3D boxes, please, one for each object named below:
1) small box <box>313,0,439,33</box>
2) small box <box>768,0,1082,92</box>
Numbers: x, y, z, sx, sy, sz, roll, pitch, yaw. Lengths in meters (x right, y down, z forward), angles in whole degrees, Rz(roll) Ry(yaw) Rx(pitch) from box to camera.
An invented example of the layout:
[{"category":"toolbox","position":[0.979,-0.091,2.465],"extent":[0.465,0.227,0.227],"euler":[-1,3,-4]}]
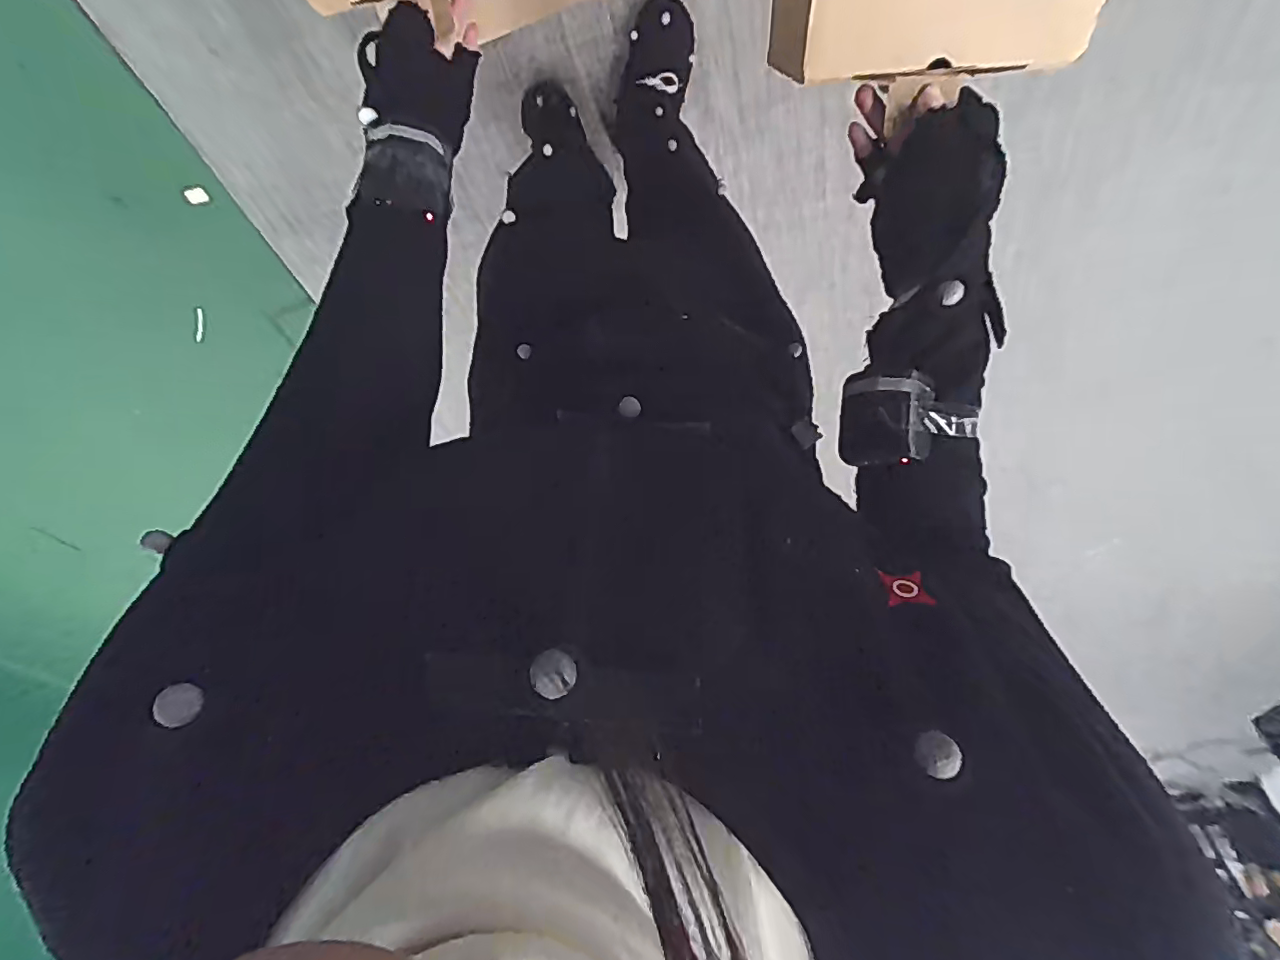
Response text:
[{"category":"small box","position":[-0.196,-0.497,0.428],"extent":[0.168,0.176,0.179],"euler":[-10,133,12]},{"category":"small box","position":[0.177,-0.370,0.344],"extent":[0.168,0.176,0.179],"euler":[0,131,5]}]
